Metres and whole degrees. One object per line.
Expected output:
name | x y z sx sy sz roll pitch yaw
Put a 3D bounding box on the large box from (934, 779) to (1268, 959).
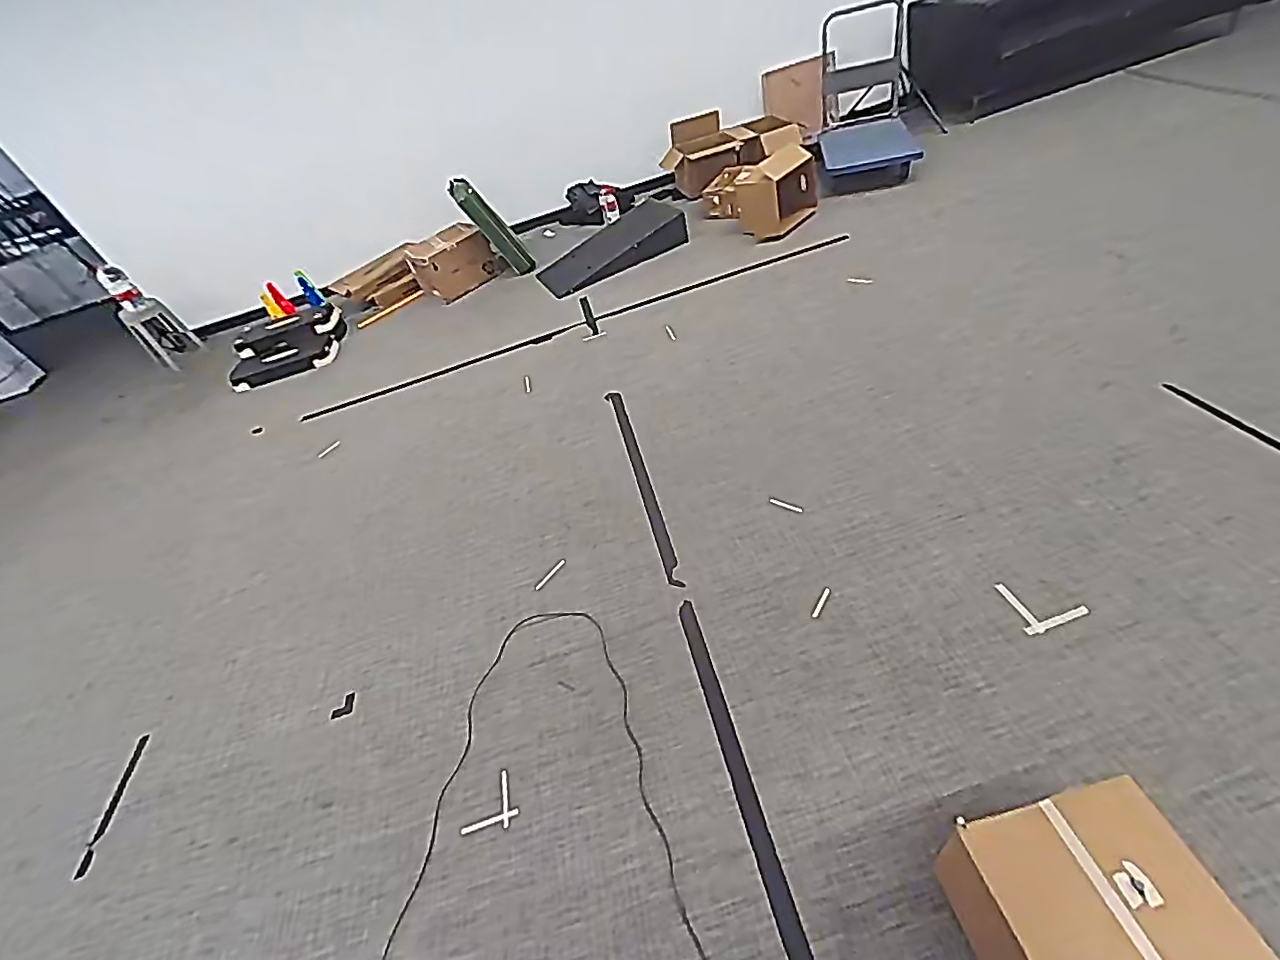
large box | 0.767 0.799 0.899 0.320 0.320 0.408 -17 42 0
